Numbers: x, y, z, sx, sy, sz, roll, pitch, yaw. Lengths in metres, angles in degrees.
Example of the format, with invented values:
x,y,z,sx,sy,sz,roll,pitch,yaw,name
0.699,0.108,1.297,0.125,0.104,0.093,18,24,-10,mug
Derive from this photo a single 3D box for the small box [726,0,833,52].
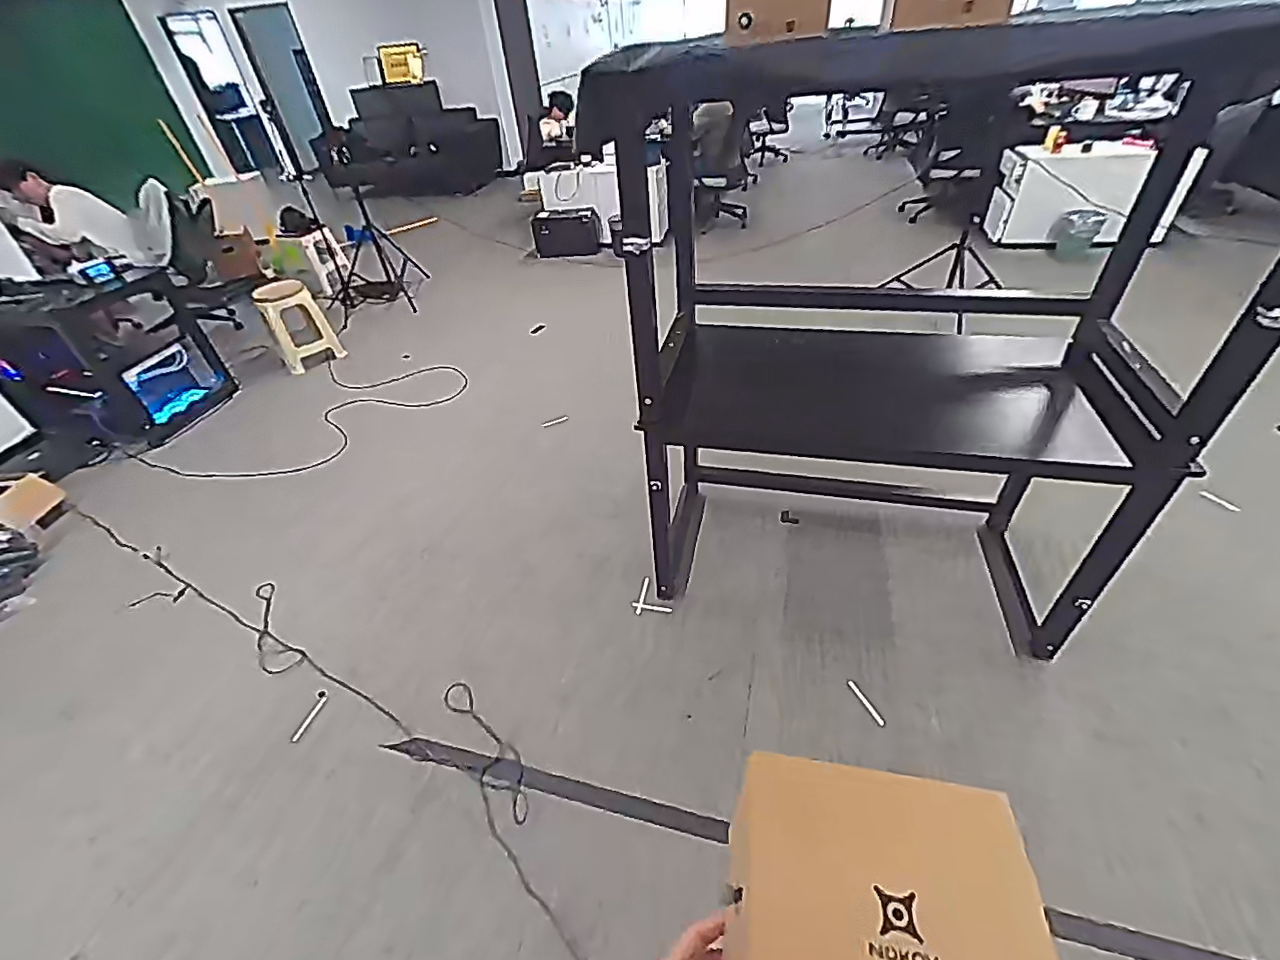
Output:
x,y,z,sx,sy,sz,roll,pitch,yaw,name
0.231,-0.815,0.883,0.168,0.176,0.179,5,39,11,small box

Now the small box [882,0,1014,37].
x,y,z,sx,sy,sz,roll,pitch,yaw,name
0.480,-0.792,0.829,0.168,0.176,0.179,6,40,13,small box

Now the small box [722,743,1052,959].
x,y,z,sx,sy,sz,roll,pitch,yaw,name
0.142,0.309,0.355,0.168,0.176,0.179,6,42,9,small box
